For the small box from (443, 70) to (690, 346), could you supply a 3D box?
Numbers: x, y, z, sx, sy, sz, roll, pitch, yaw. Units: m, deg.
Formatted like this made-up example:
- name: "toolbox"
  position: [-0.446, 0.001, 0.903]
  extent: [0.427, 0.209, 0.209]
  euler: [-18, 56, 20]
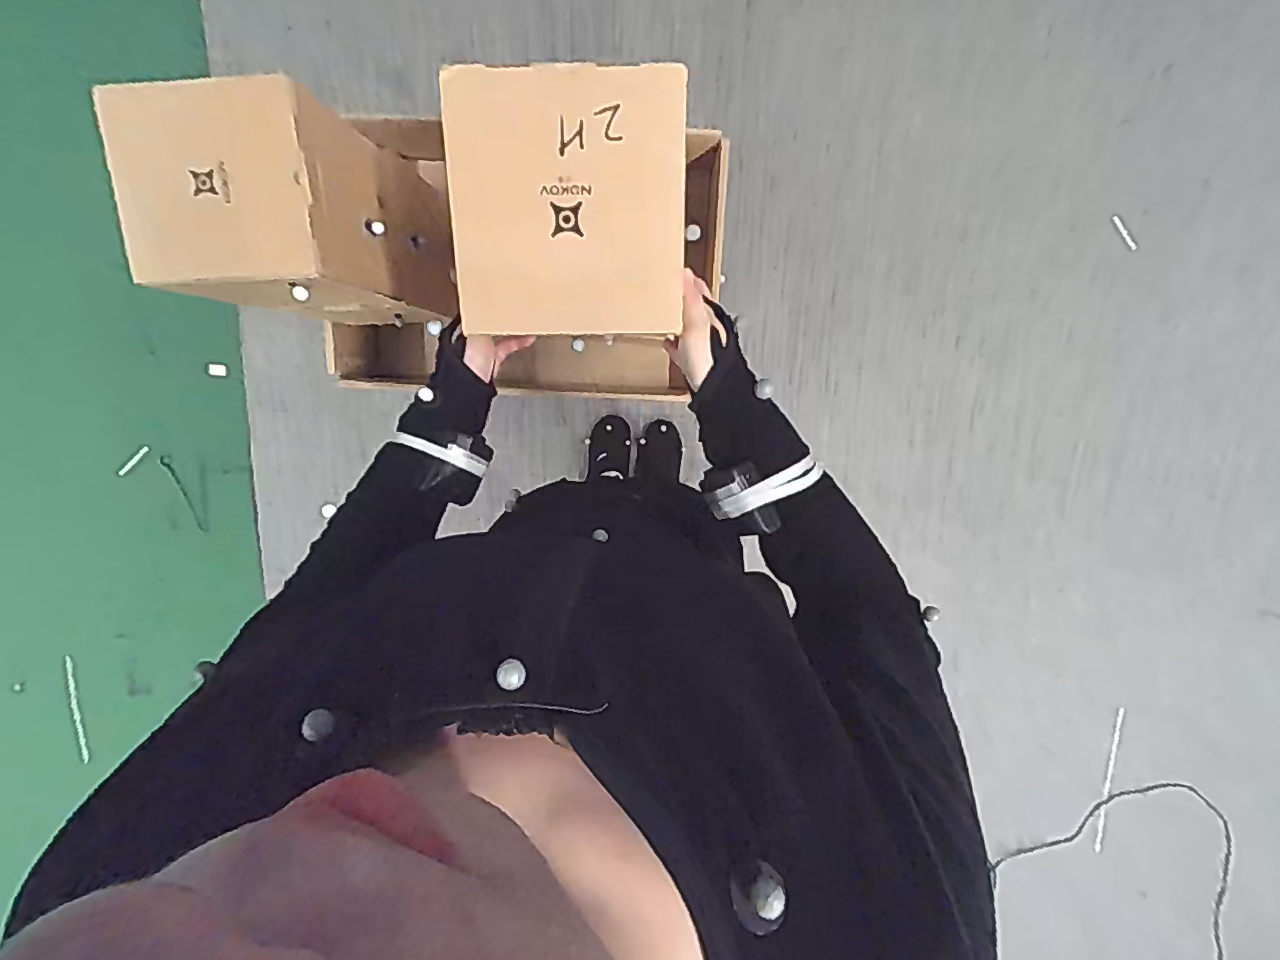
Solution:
- name: "small box"
  position: [-0.048, -0.206, 0.454]
  extent: [0.168, 0.176, 0.179]
  euler: [0, 105, 0]

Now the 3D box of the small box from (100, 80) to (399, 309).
- name: "small box"
  position: [-0.378, -0.275, 0.558]
  extent: [0.179, 0.176, 0.168]
  euler: [-3, 101, 0]

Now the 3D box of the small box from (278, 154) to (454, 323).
- name: "small box"
  position: [-0.359, -0.304, 0.717]
  extent: [0.168, 0.176, 0.179]
  euler: [-1, 100, 1]
